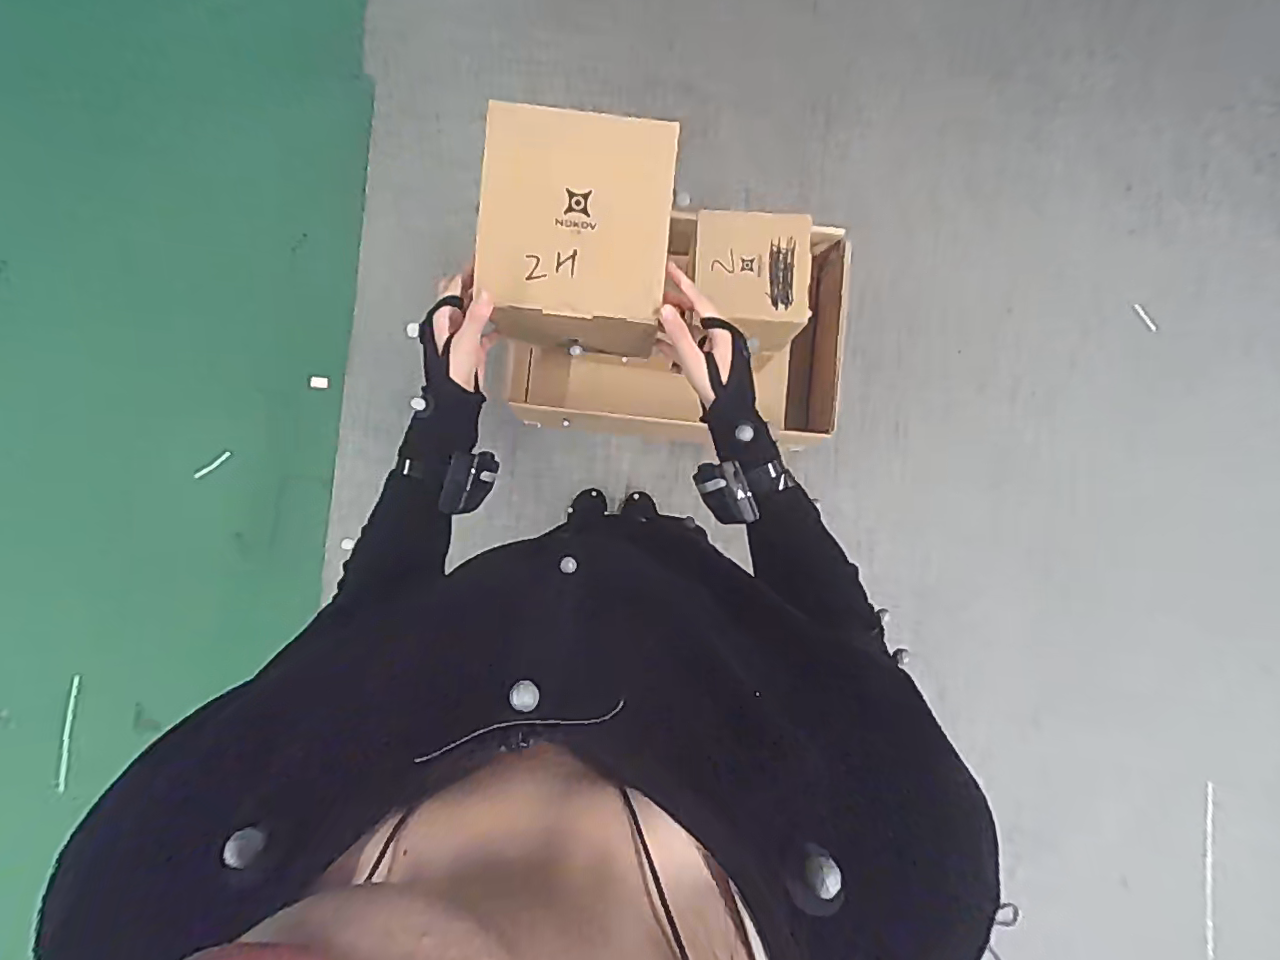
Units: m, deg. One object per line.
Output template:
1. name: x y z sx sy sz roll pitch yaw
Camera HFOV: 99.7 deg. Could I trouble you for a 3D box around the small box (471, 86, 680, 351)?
1. small box: -0.058 -0.240 0.540 0.168 0.176 0.179 5 92 -2
